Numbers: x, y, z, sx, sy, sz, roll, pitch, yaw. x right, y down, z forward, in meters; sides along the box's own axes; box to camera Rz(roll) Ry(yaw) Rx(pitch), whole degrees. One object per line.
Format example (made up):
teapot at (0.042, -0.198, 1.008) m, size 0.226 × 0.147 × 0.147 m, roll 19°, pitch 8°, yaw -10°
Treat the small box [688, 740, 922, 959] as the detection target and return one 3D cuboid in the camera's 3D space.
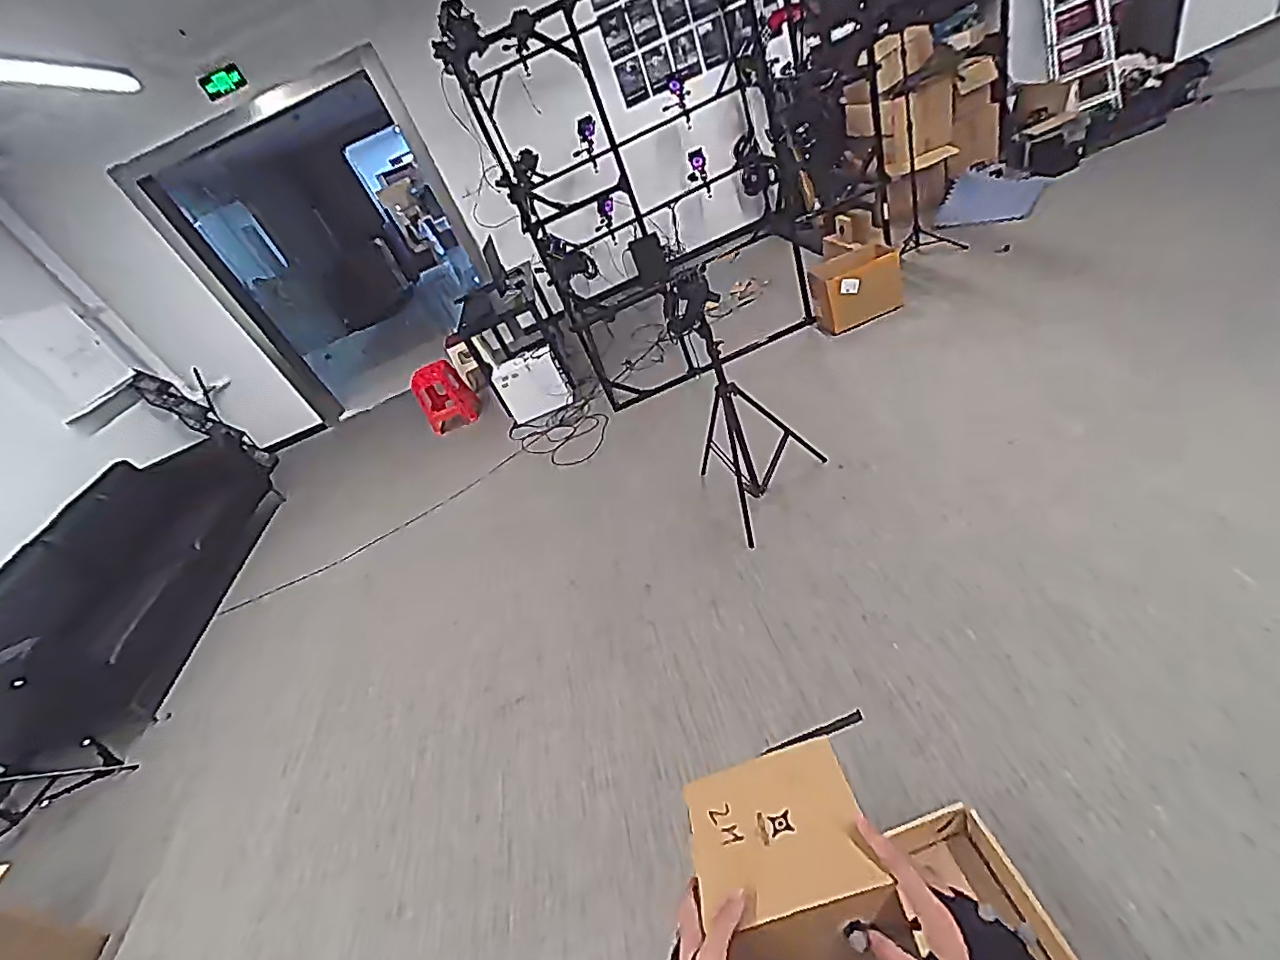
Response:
small box at (0.166, 0.417, 0.559) m, size 0.179 × 0.176 × 0.168 m, roll -22°, pitch 17°, yaw 6°
